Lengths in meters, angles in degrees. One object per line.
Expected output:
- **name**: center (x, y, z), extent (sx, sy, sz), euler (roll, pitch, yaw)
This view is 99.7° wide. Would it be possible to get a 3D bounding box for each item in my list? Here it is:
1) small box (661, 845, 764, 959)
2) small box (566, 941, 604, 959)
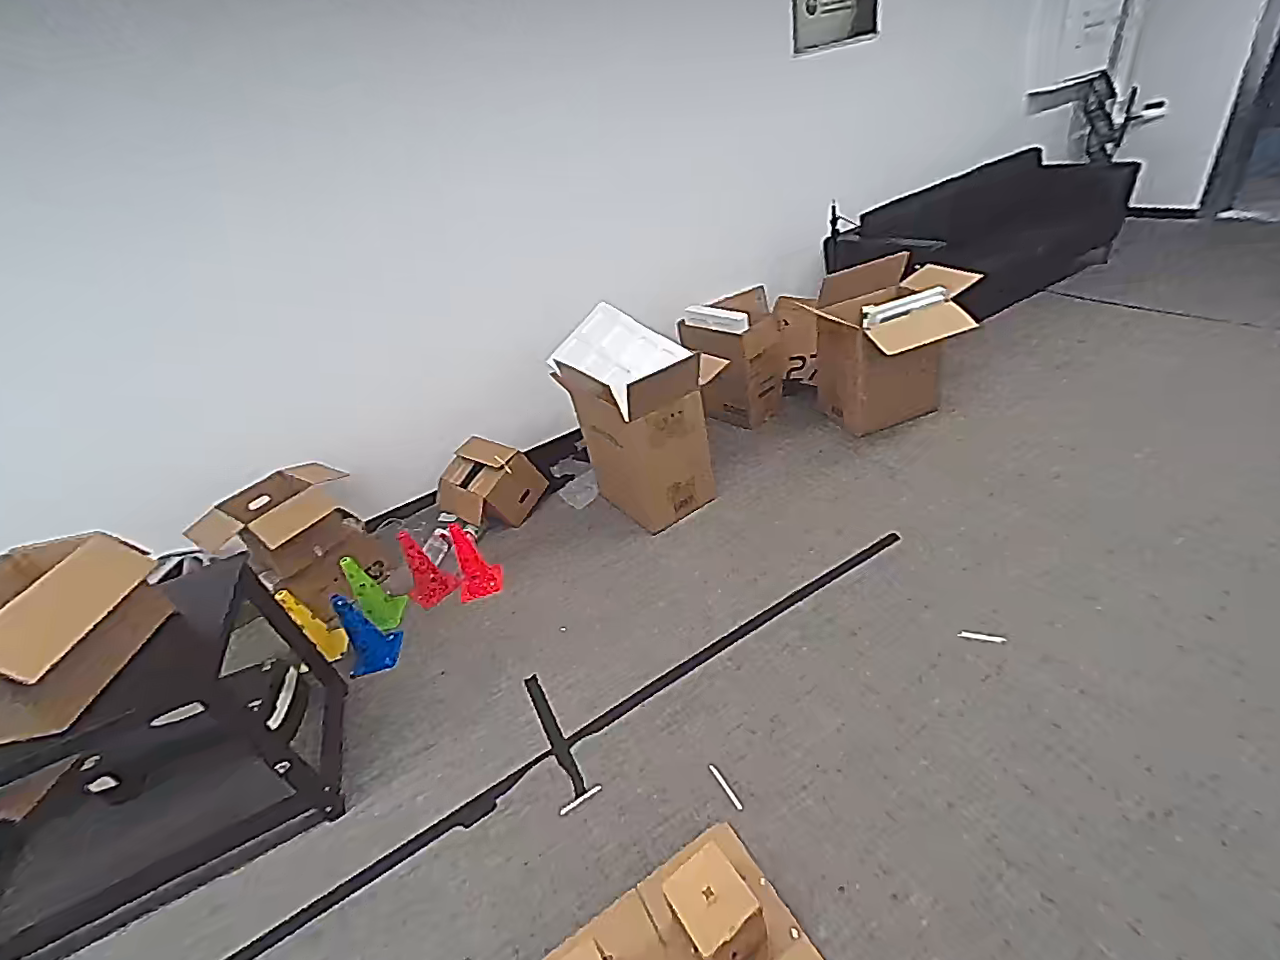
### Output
- **small box**: center (0.174, 1.032, 1.283), extent (0.168, 0.176, 0.179), euler (-29, 36, -22)
- **small box**: center (-0.120, 1.170, 1.169), extent (0.168, 0.176, 0.179), euler (-27, 35, -19)
